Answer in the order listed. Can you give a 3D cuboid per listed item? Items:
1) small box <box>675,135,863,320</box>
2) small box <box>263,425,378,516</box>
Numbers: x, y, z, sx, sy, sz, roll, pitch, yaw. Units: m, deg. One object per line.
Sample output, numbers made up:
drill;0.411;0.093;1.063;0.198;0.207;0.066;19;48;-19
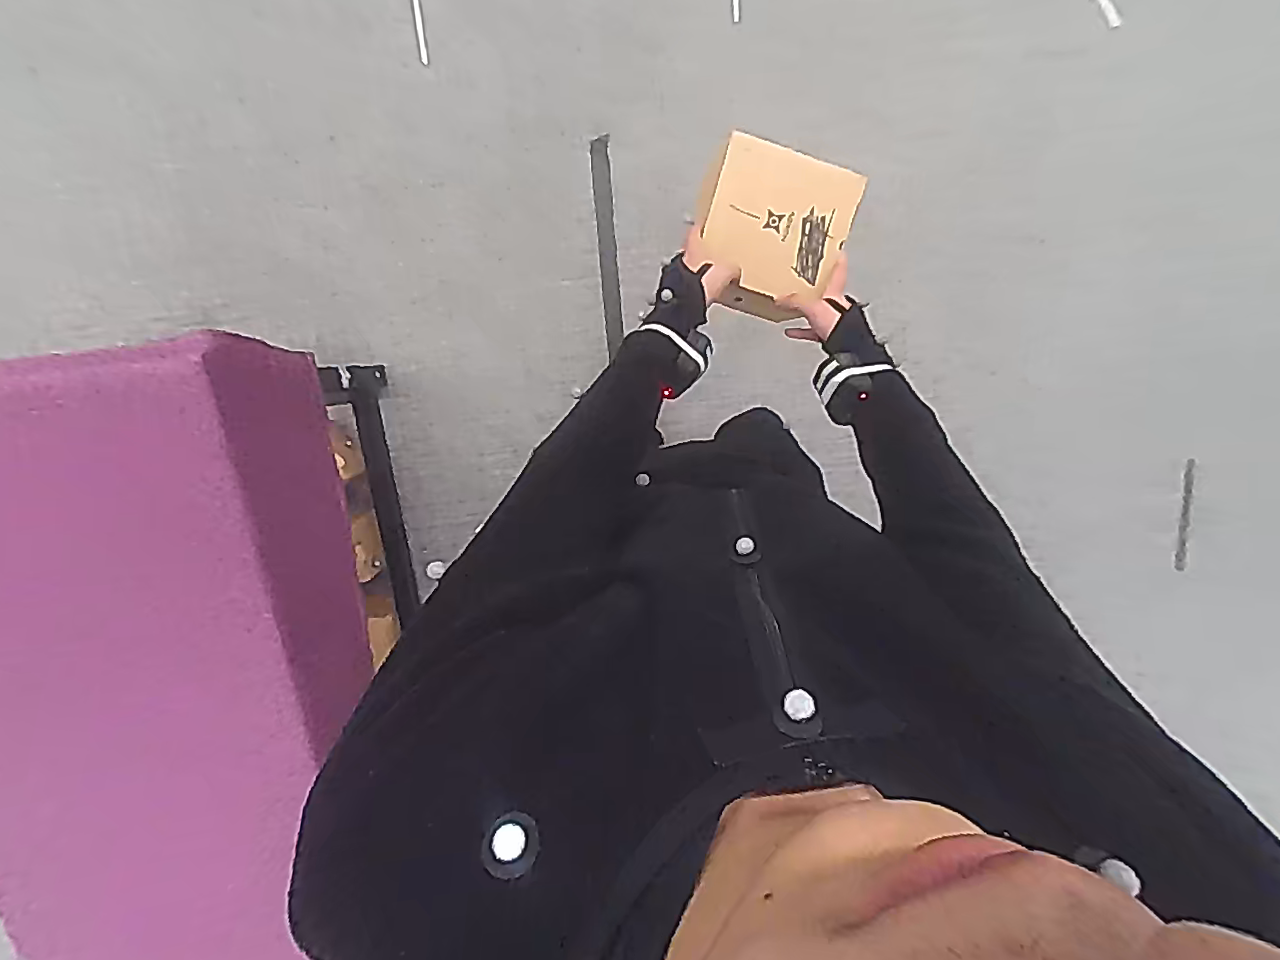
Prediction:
small box;0.160;-0.323;0.734;0.179;0.176;0.168;15;100;-7
small box;-0.866;-0.032;1.485;0.179;0.176;0.168;-35;103;4
